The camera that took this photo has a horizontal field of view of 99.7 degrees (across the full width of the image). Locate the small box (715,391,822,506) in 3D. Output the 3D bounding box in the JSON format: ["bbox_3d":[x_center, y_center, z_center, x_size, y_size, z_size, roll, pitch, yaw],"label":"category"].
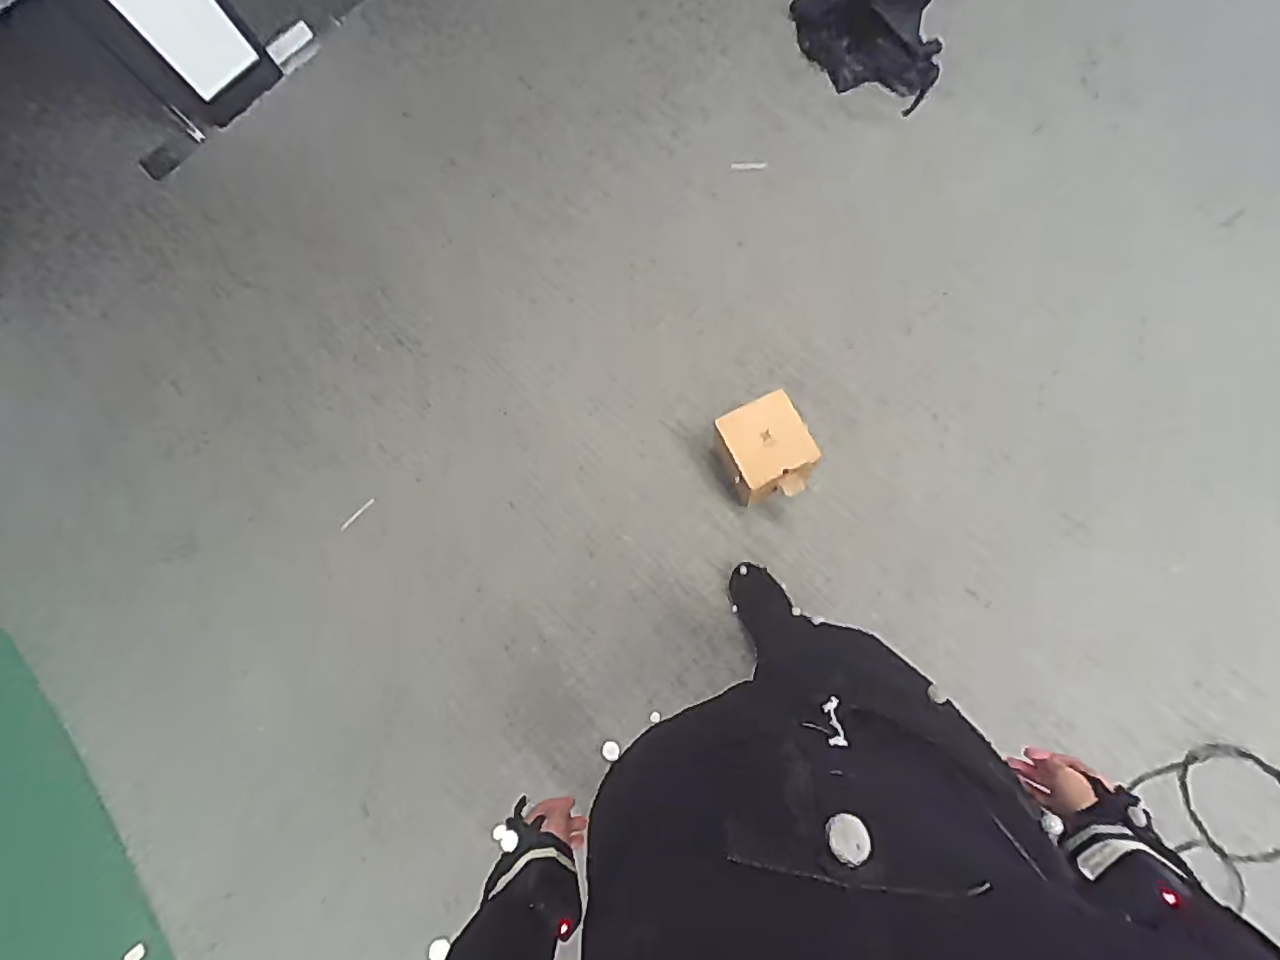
[{"bbox_3d":[0.275,-0.063,1.204,0.168,0.176,0.179,-25,73,0],"label":"small box"}]
